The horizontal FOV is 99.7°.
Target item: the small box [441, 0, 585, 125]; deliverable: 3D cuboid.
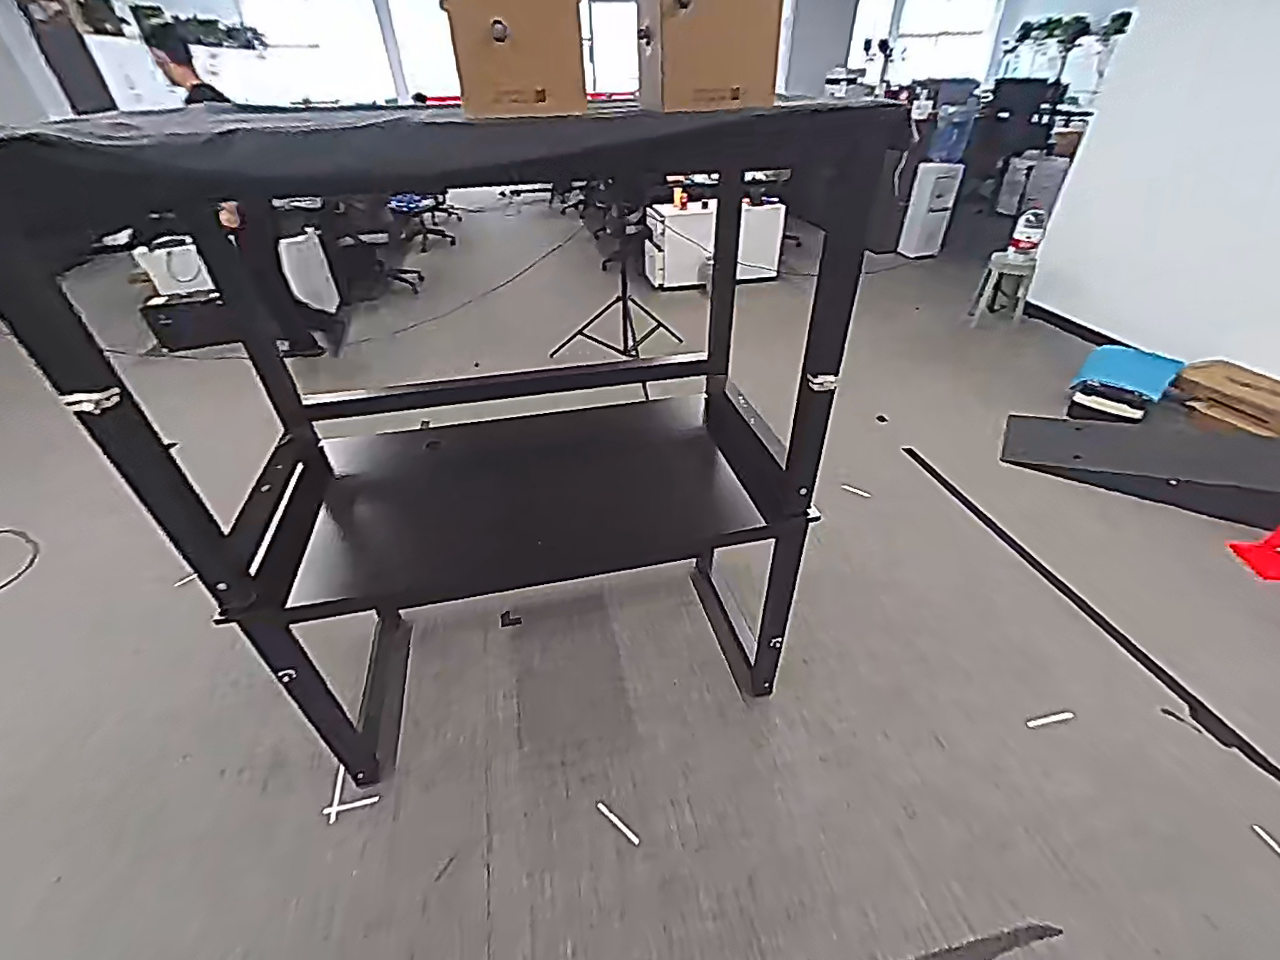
[{"bbox_3d":[-0.170,-0.596,0.747,0.168,0.176,0.179,-7,36,-7],"label":"small box"}]
